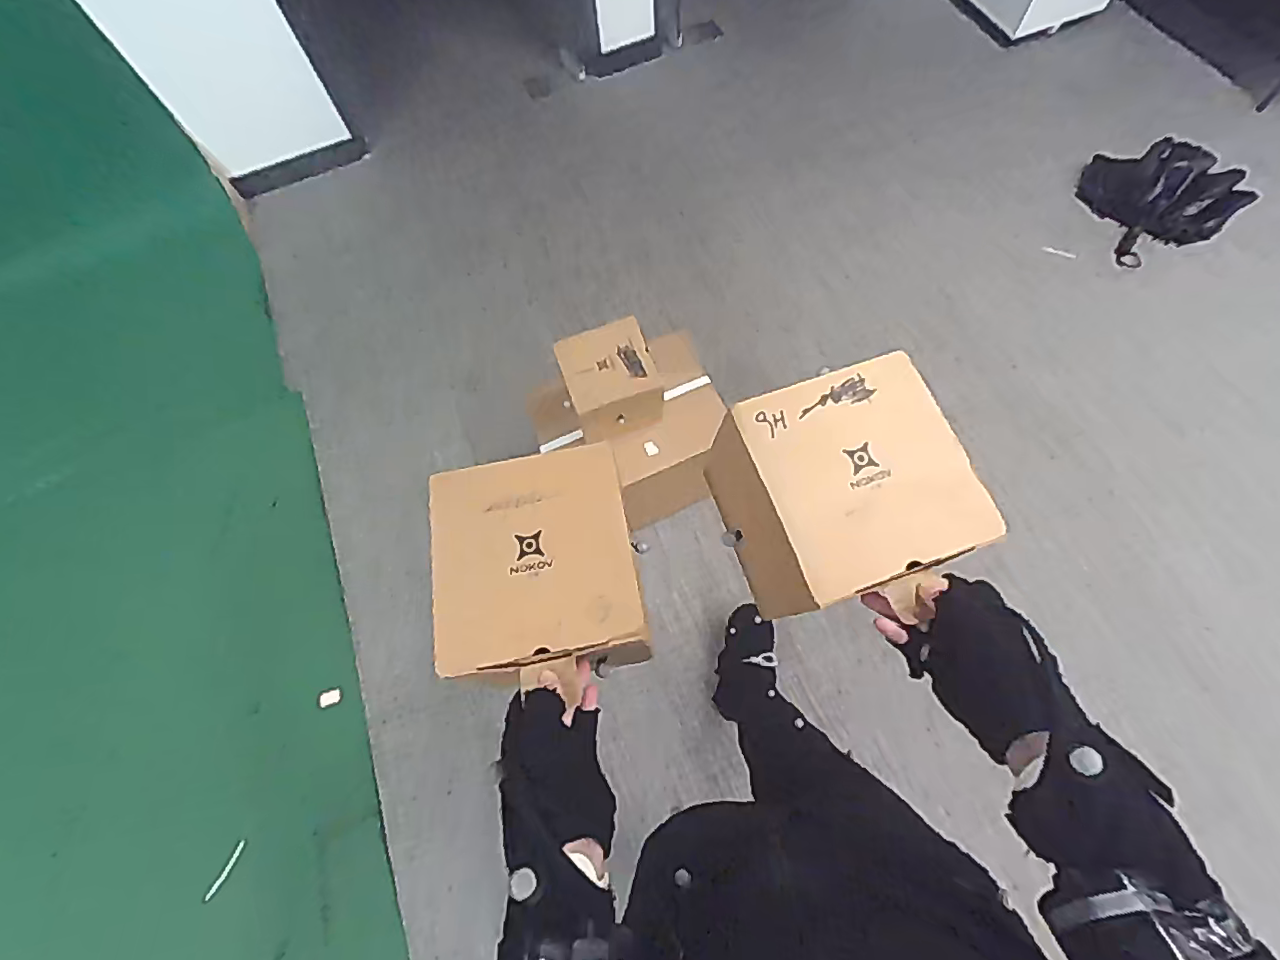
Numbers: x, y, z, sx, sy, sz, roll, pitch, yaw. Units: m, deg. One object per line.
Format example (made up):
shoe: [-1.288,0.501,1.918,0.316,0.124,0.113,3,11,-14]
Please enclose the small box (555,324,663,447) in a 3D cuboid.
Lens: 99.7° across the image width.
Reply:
small box: [-0.061,-0.189,1.116,0.179,0.176,0.168,-17,71,-4]
